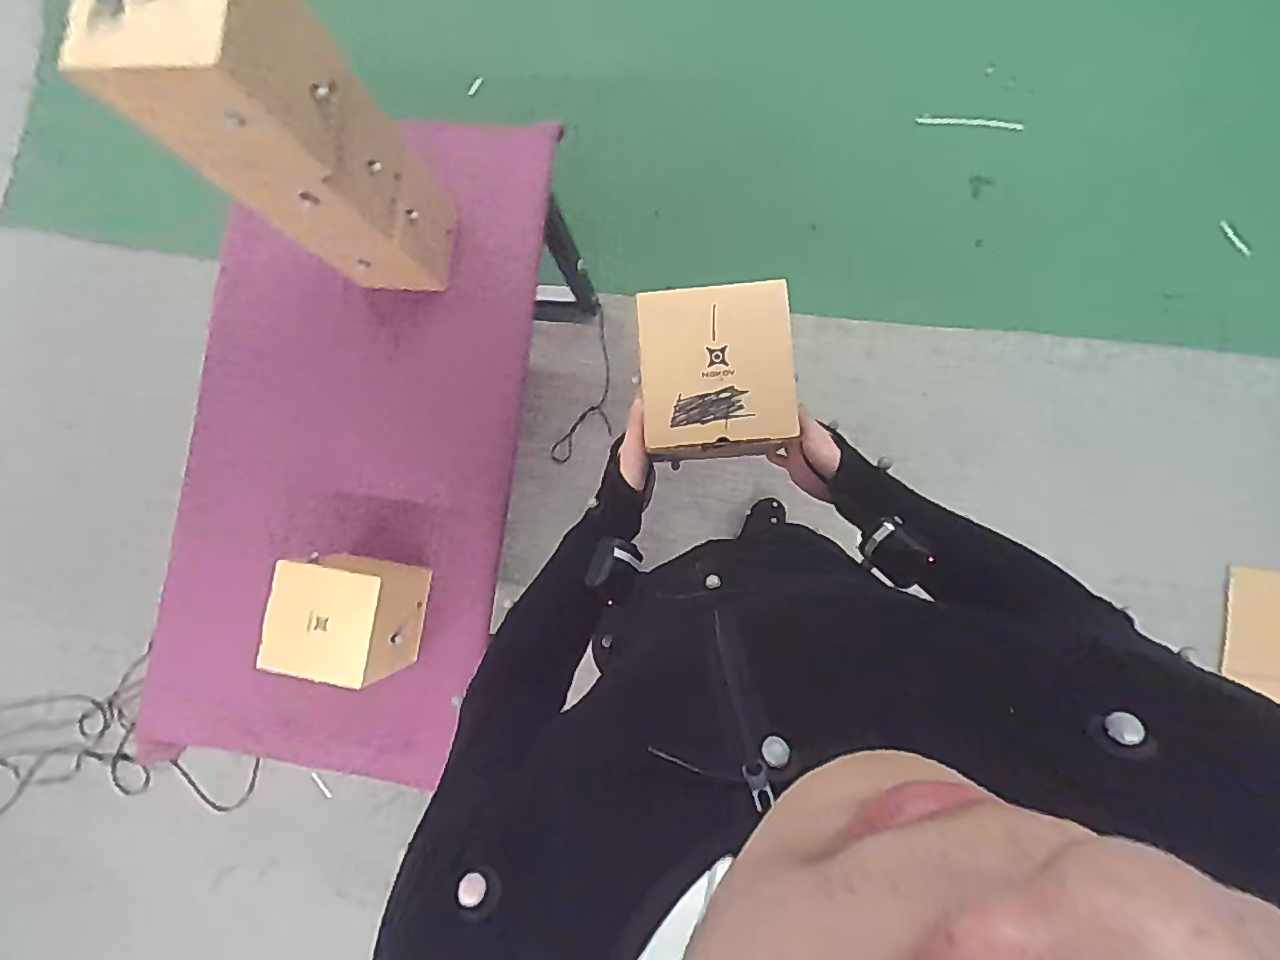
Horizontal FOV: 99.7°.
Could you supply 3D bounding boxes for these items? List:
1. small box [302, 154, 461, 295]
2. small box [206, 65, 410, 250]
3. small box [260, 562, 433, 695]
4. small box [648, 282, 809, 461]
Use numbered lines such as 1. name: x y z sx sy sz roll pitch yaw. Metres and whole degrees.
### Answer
1. small box: -0.441 -0.438 0.945 0.179 0.176 0.168 5 86 8
2. small box: -0.464 -0.453 0.782 0.179 0.176 0.168 7 85 8
3. small box: -0.466 0.230 0.884 0.179 0.176 0.168 8 86 8
4. small box: 0.099 -0.116 0.654 0.168 0.176 0.179 -3 86 4
